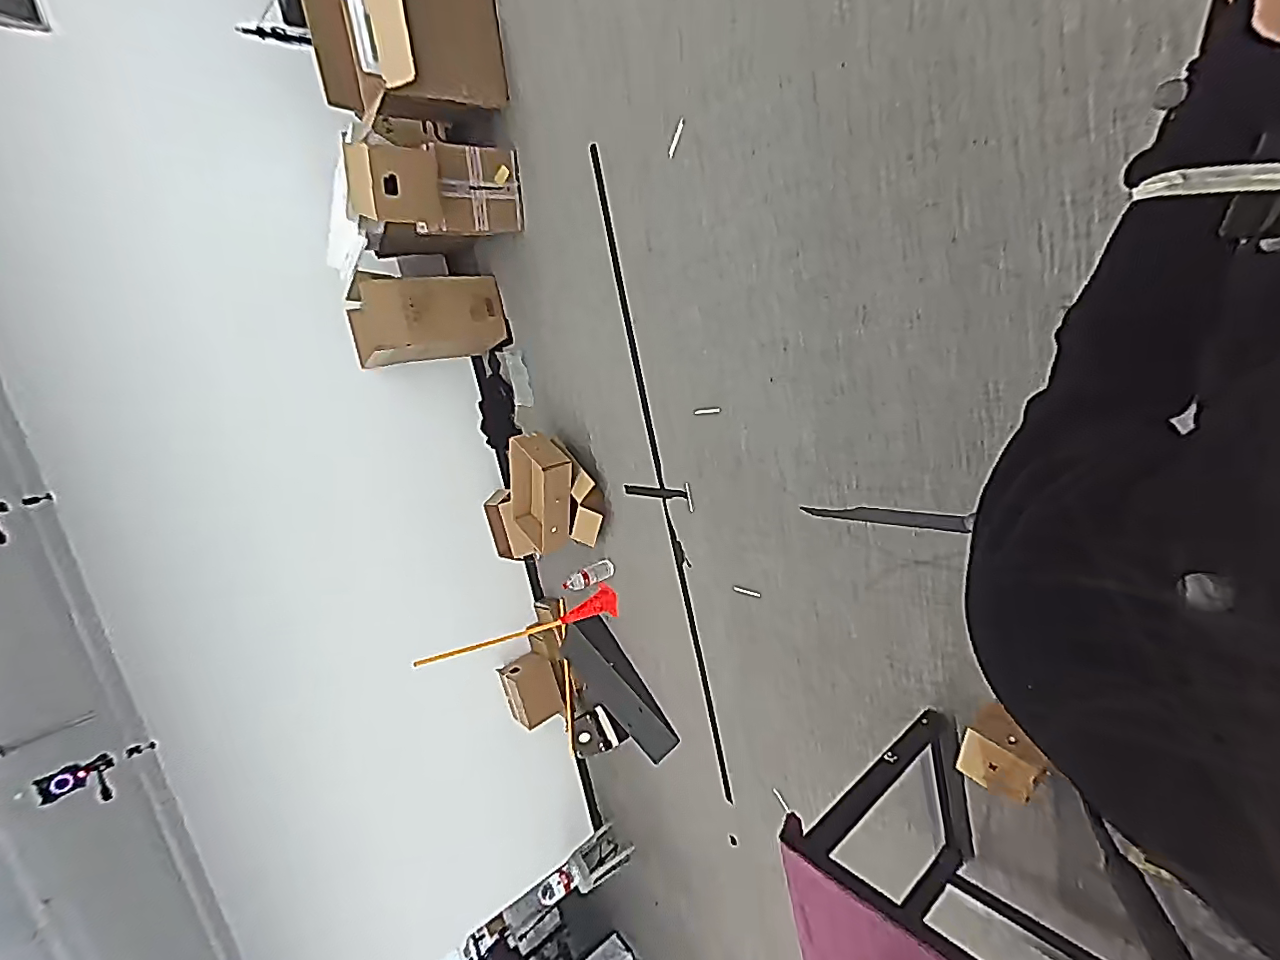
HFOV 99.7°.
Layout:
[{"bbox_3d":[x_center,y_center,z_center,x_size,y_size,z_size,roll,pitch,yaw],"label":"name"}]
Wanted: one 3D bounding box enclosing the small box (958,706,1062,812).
[{"bbox_3d":[1.033,0.766,1.512,0.179,0.176,0.168,26,125,46],"label":"small box"}]
